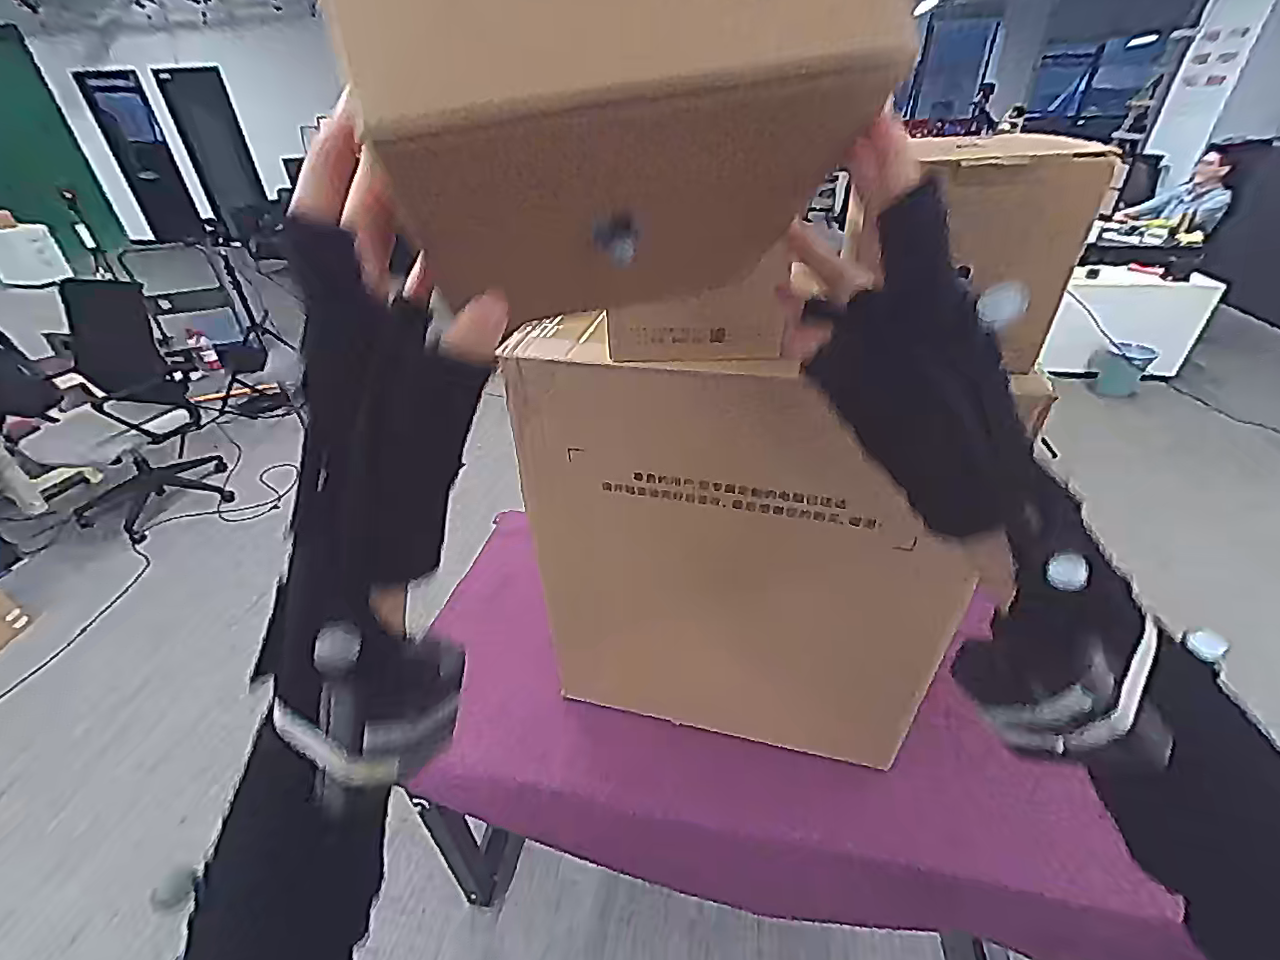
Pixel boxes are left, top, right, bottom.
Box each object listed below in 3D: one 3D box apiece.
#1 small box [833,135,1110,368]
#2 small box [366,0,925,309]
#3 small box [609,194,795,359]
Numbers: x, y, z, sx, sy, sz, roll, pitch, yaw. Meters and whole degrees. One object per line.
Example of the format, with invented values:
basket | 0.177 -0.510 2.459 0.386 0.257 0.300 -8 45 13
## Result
small box | 0.284 -0.218 0.514 0.168 0.176 0.179 7 37 13
small box | -0.019 -0.199 0.246 0.179 0.168 0.176 -14 -3 -9
small box | 0.055 -0.231 0.552 0.168 0.176 0.179 0 35 2
